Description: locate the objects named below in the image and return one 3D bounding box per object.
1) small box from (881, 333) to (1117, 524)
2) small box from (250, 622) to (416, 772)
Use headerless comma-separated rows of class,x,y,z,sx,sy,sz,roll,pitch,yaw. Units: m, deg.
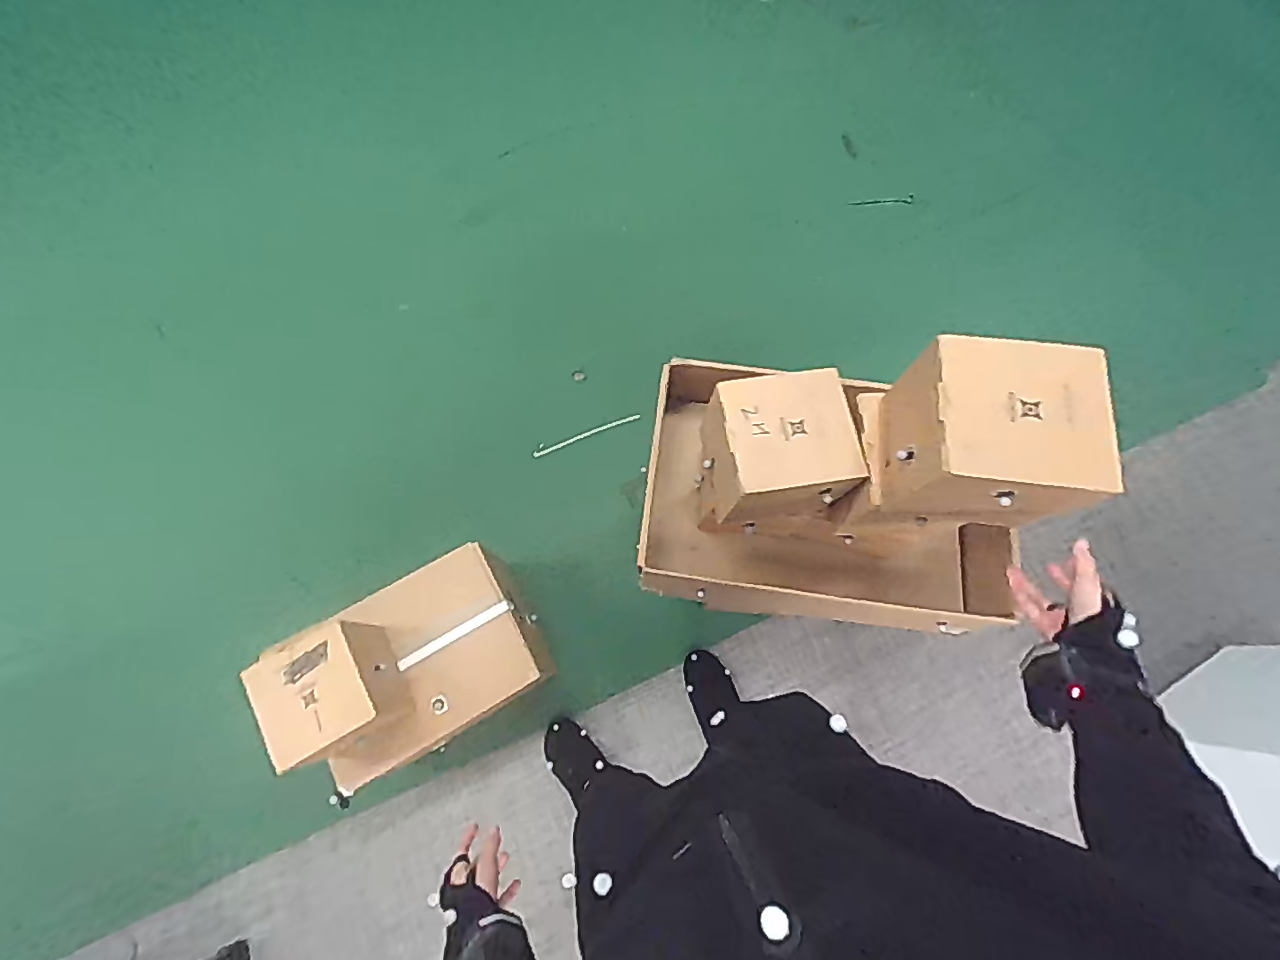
small box,0.402,-0.051,0.642,0.179,0.176,0.168,7,73,4
small box,-0.524,0.370,0.944,0.168,0.176,0.179,-29,75,-10
